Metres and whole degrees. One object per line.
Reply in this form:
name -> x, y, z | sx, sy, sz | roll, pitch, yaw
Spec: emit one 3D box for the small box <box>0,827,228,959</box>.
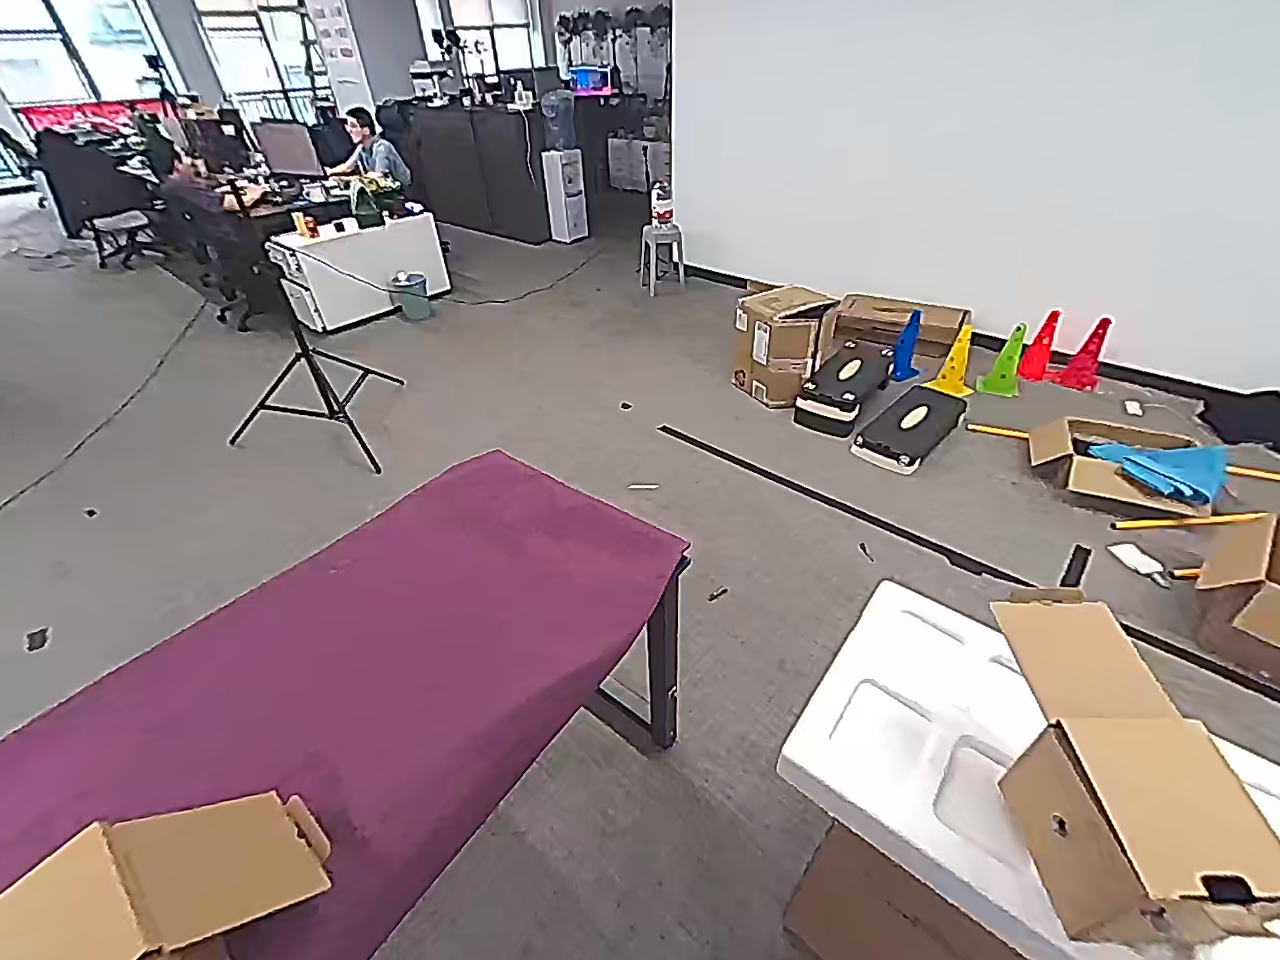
small box -> -0.545, 0.501, 0.531 | 0.168, 0.176, 0.179 | 27, 45, 31
